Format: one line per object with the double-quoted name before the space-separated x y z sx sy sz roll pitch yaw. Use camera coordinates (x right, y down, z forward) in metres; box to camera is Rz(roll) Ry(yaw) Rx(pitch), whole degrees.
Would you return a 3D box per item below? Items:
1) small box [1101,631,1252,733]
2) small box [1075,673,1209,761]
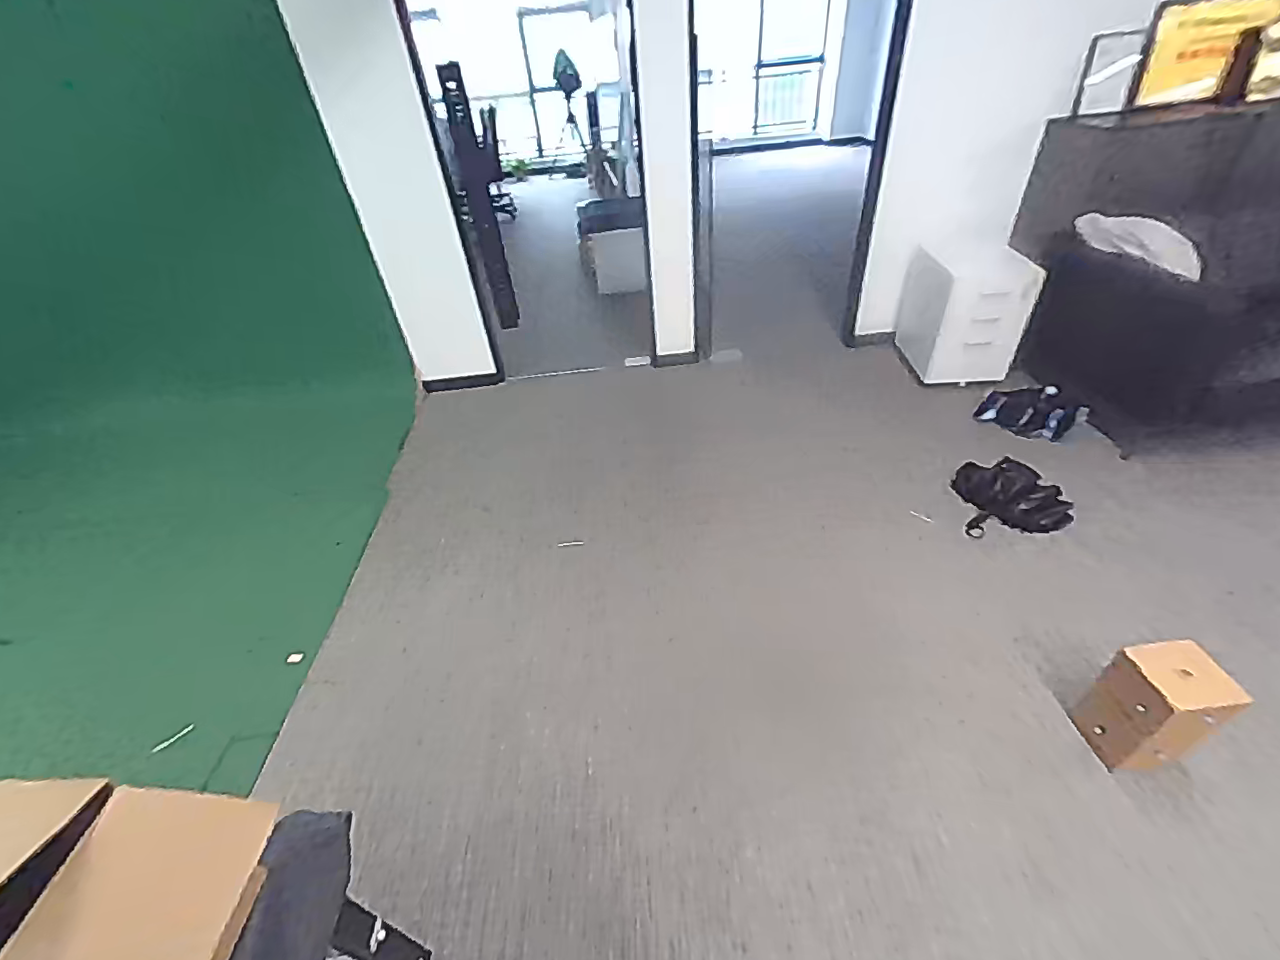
"small box" 1.278 0.492 1.312 0.179 0.176 0.168 -7 42 -2
"small box" 1.295 0.614 1.418 0.179 0.176 0.168 -8 41 -1
